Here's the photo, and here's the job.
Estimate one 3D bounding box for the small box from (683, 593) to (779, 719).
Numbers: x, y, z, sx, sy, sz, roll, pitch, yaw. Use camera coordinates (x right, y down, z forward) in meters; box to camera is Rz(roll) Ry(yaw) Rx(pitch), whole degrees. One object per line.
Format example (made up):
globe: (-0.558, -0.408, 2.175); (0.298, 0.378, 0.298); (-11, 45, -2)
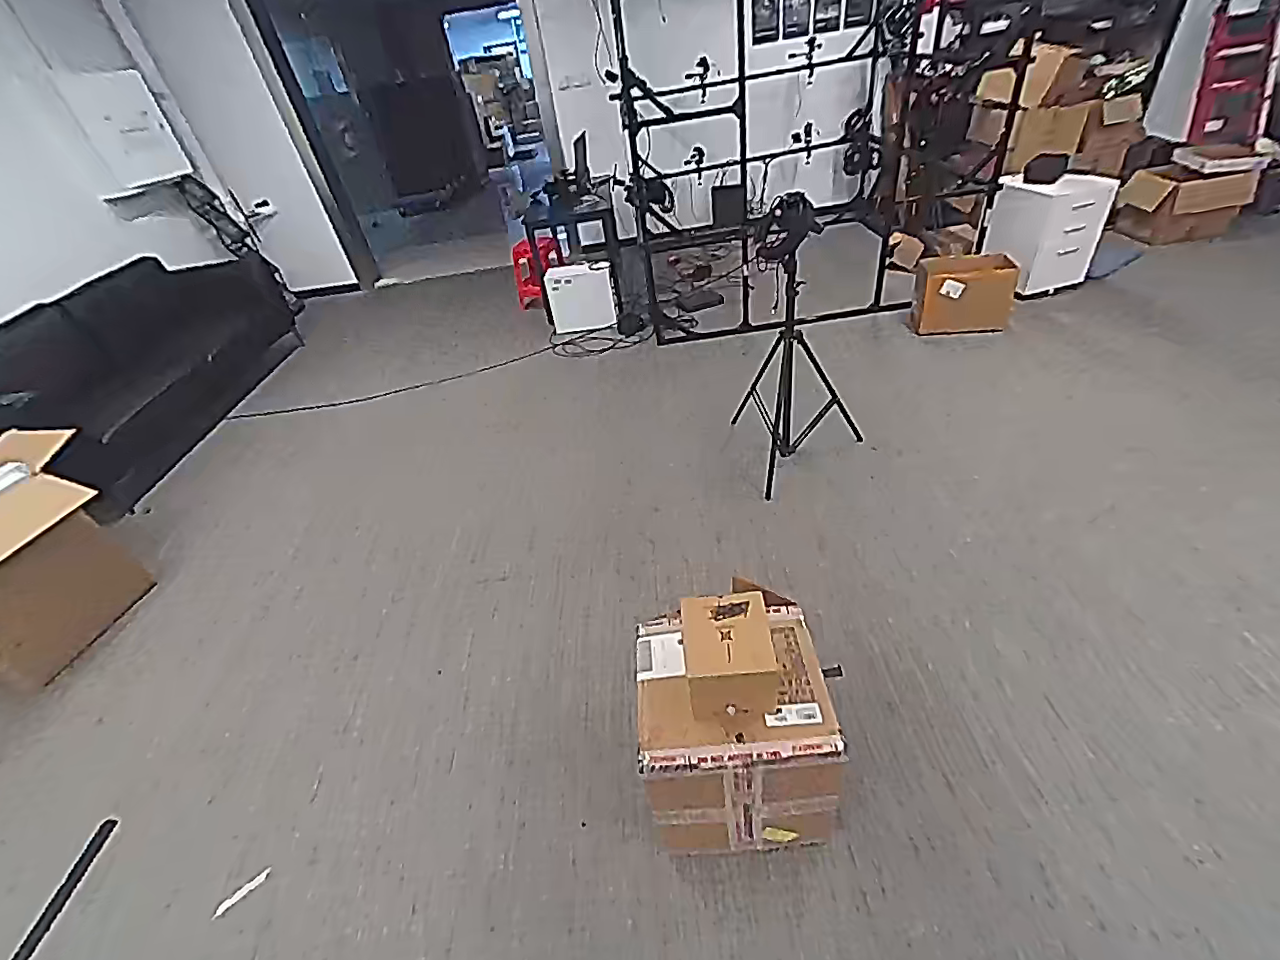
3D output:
small box: (0.176, 0.351, 1.078); (0.168, 0.176, 0.179); (-7, 41, 5)
